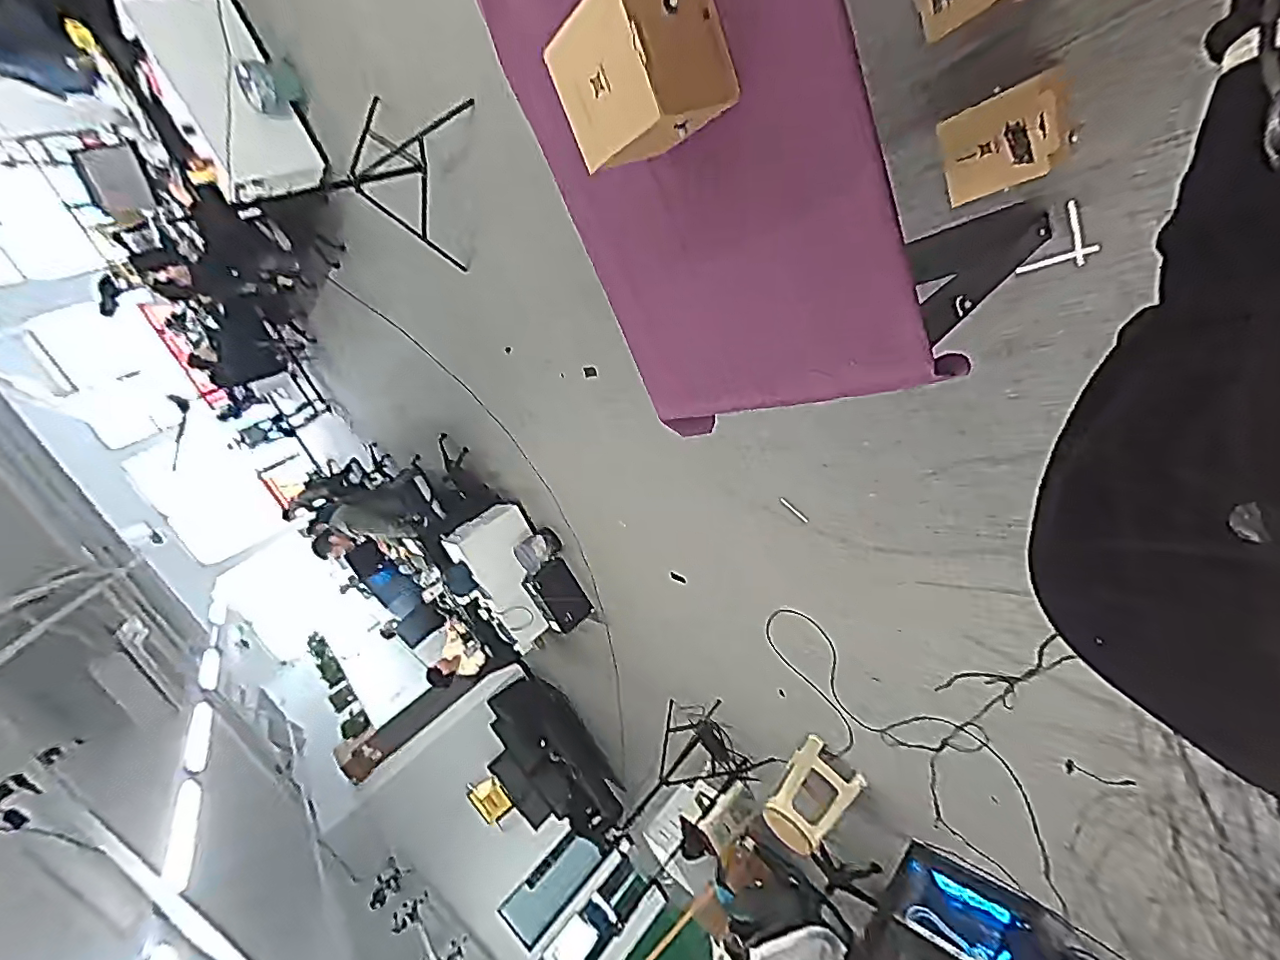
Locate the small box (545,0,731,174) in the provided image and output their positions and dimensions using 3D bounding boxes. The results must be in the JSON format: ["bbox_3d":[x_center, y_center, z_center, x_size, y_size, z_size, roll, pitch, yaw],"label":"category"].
[{"bbox_3d":[0.005,-0.565,0.754,0.179,0.176,0.168,3,122,54],"label":"small box"}]

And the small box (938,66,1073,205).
[{"bbox_3d":[0.733,-0.684,1.077,0.179,0.176,0.168,2,123,53],"label":"small box"}]
